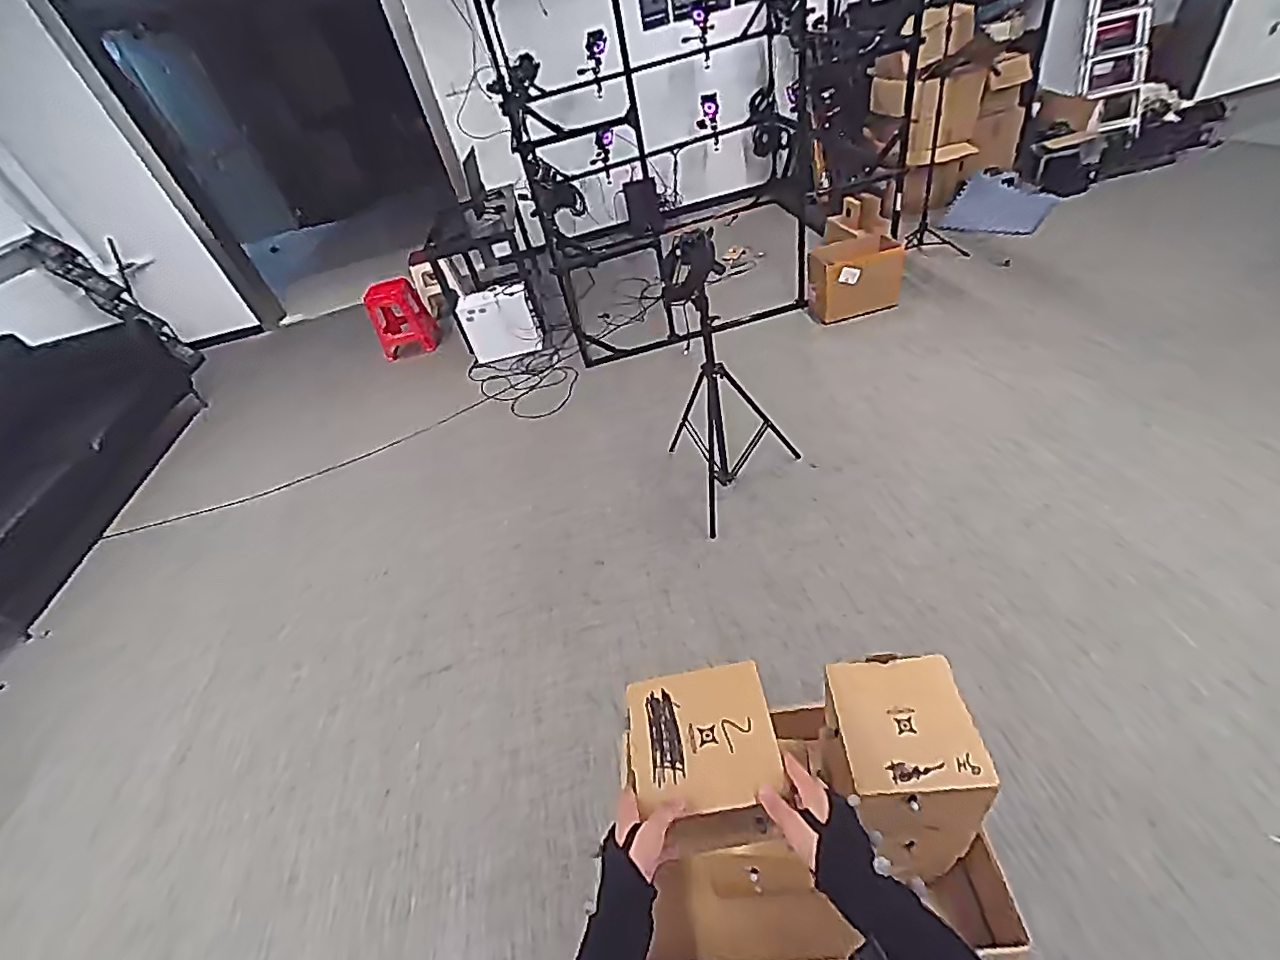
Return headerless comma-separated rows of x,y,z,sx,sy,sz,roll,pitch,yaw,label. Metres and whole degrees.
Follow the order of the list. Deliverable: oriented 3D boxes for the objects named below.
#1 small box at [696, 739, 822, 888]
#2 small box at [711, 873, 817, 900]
0.187,0.536,0.870,0.179,0.176,0.168,-4,42,11,small box
0.214,0.647,0.988,0.179,0.176,0.168,-8,41,7,small box
